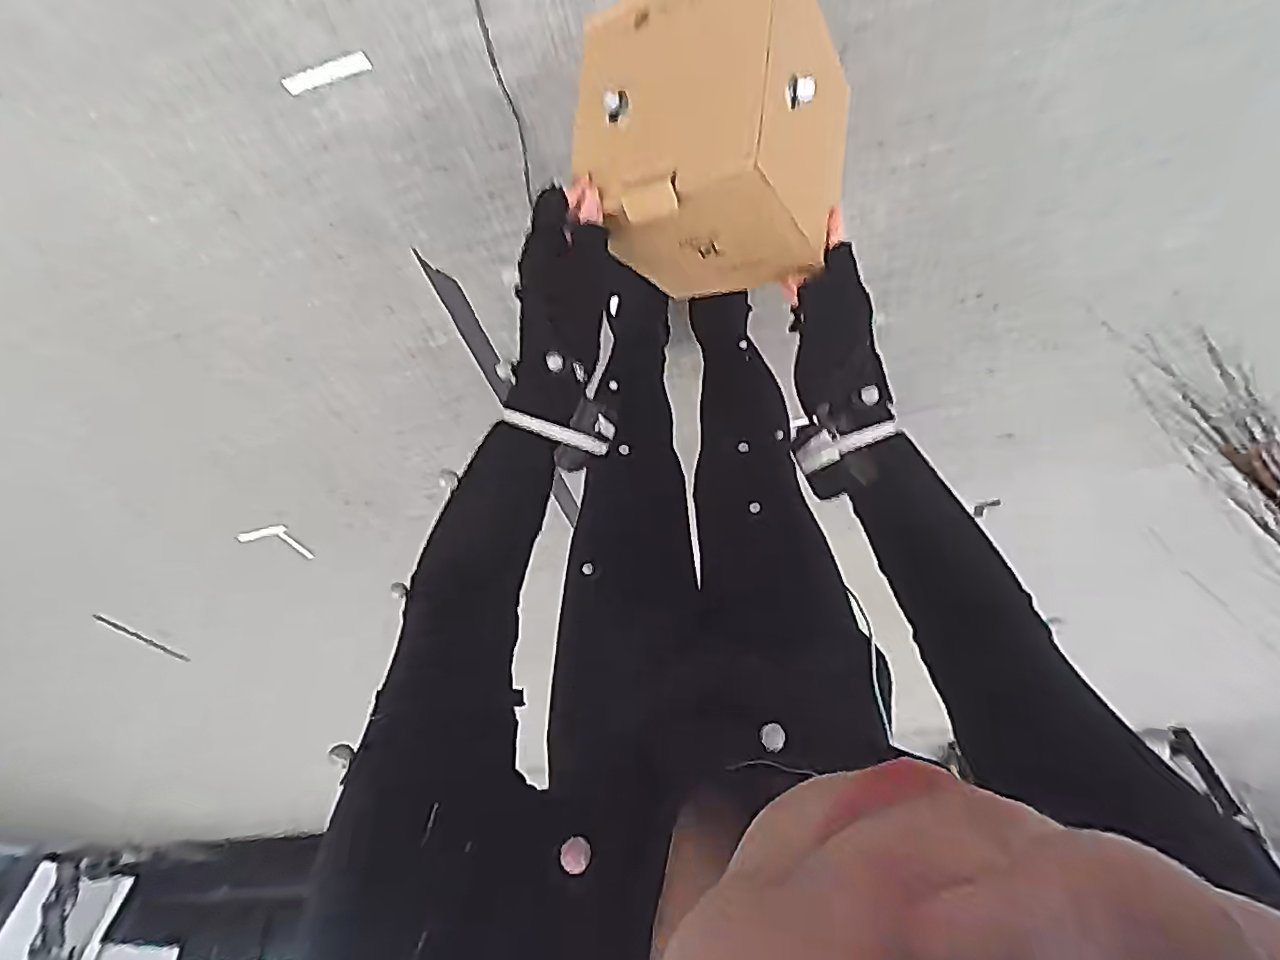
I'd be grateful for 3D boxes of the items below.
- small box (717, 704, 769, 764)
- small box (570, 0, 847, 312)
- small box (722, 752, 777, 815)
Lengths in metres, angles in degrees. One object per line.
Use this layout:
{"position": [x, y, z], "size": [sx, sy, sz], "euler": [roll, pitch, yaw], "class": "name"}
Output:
{"position": [0.387, 0.967, 2.051], "size": [0.179, 0.176, 0.168], "euler": [-8, 137, 7], "class": "small box"}
{"position": [0.064, -0.258, 0.451], "size": [0.168, 0.176, 0.179], "euler": [5, 179, 35], "class": "small box"}
{"position": [0.393, 1.088, 1.939], "size": [0.168, 0.176, 0.179], "euler": [-10, 137, 10], "class": "small box"}
